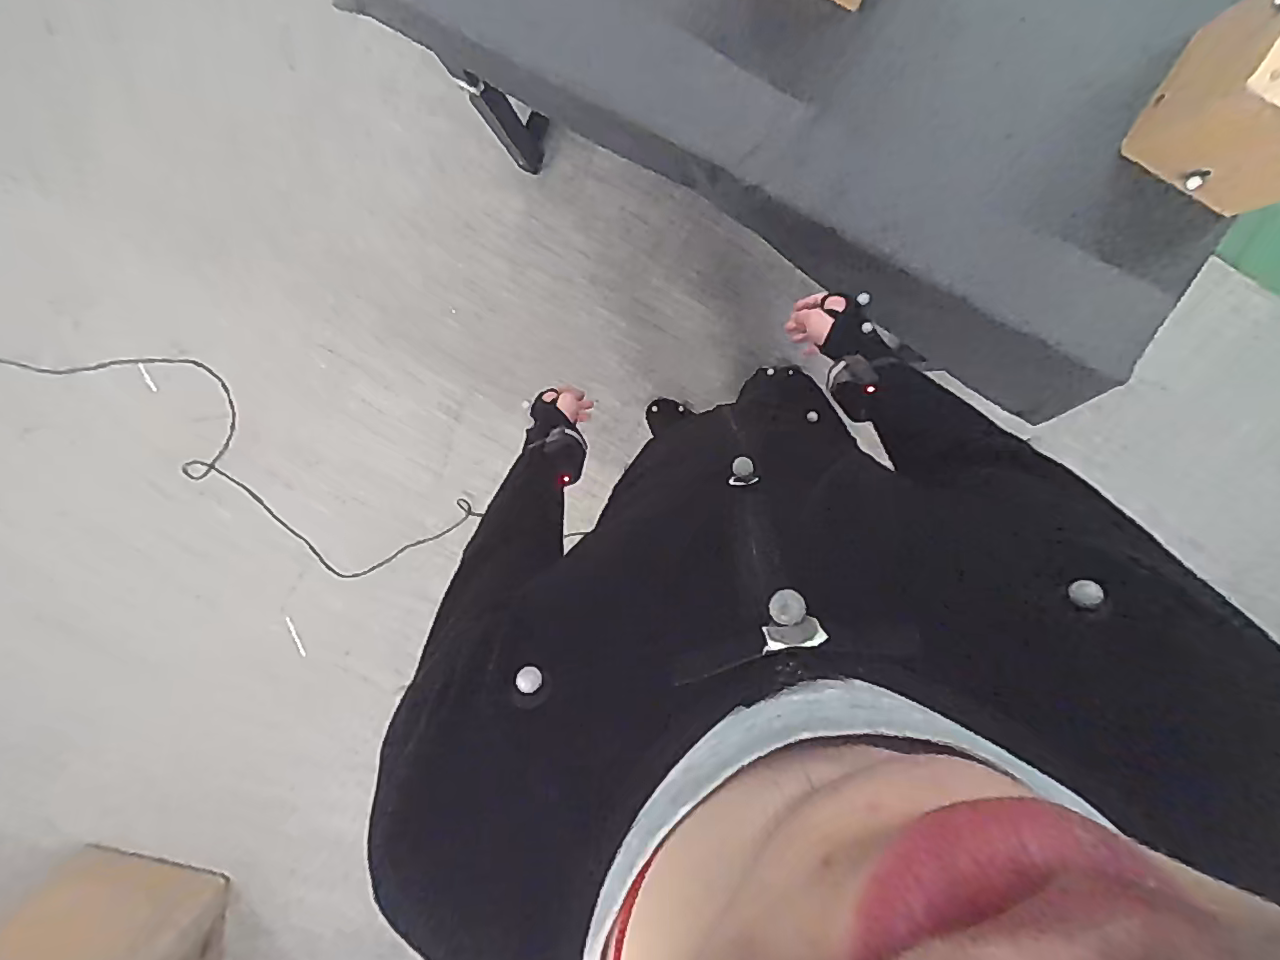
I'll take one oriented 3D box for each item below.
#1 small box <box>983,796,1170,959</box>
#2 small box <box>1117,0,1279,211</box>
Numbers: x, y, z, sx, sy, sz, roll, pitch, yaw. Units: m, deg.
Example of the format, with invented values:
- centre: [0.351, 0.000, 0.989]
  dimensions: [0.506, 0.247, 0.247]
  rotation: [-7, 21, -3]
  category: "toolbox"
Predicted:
- centre: [0.770, 0.729, 0.982]
  dimensions: [0.168, 0.176, 0.179]
  rotation: [27, 100, -5]
  category: "small box"
- centre: [0.734, -0.442, 0.627]
  dimensions: [0.179, 0.176, 0.168]
  rotation: [29, 100, -4]
  category: "small box"
